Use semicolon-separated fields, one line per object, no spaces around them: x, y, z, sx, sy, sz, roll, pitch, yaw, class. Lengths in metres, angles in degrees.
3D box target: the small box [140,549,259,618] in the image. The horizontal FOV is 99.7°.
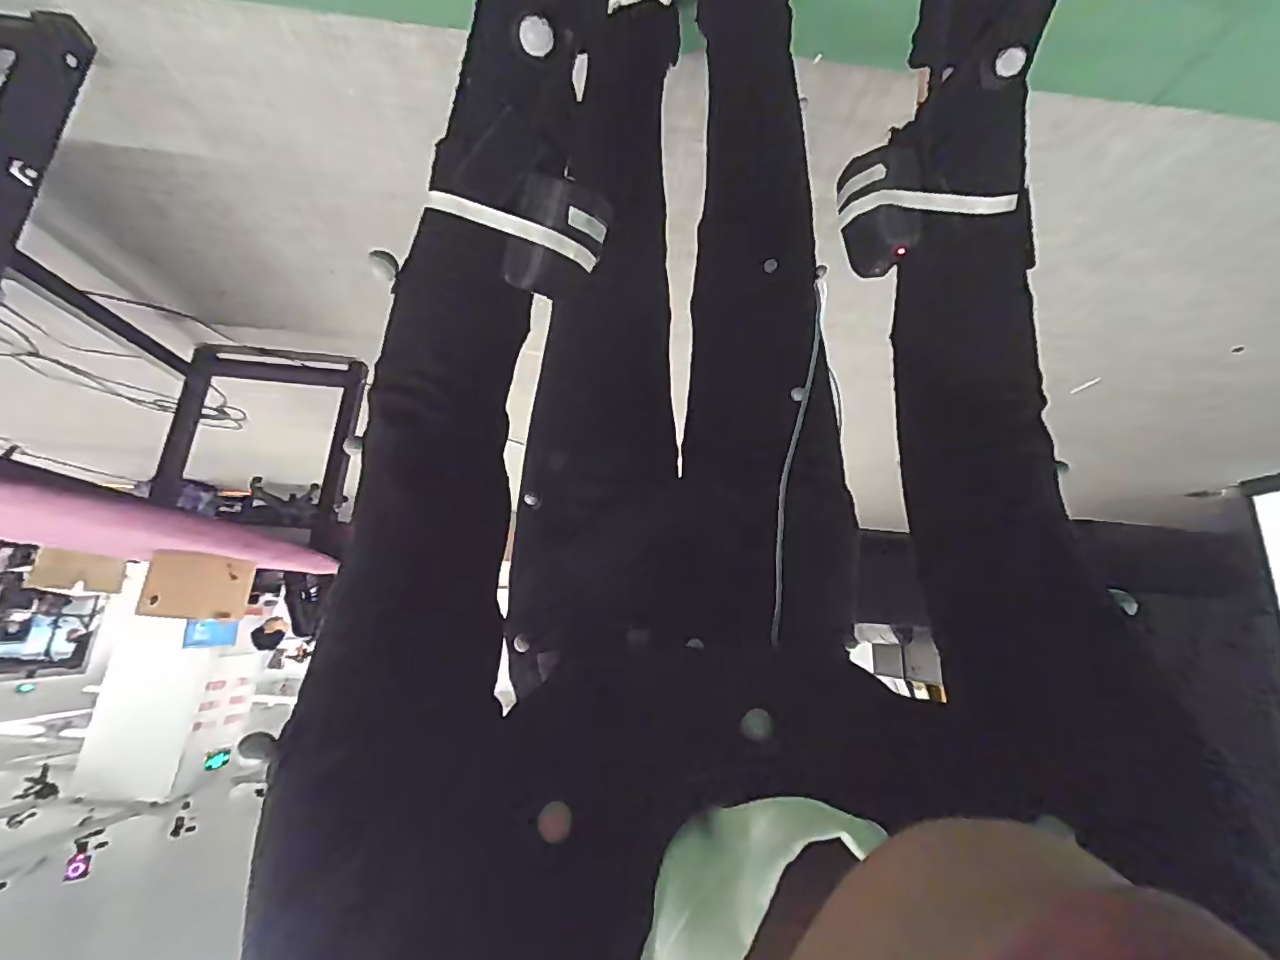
-1.205;0.286;1.495;0.179;0.176;0.168;4;165;3;small box
